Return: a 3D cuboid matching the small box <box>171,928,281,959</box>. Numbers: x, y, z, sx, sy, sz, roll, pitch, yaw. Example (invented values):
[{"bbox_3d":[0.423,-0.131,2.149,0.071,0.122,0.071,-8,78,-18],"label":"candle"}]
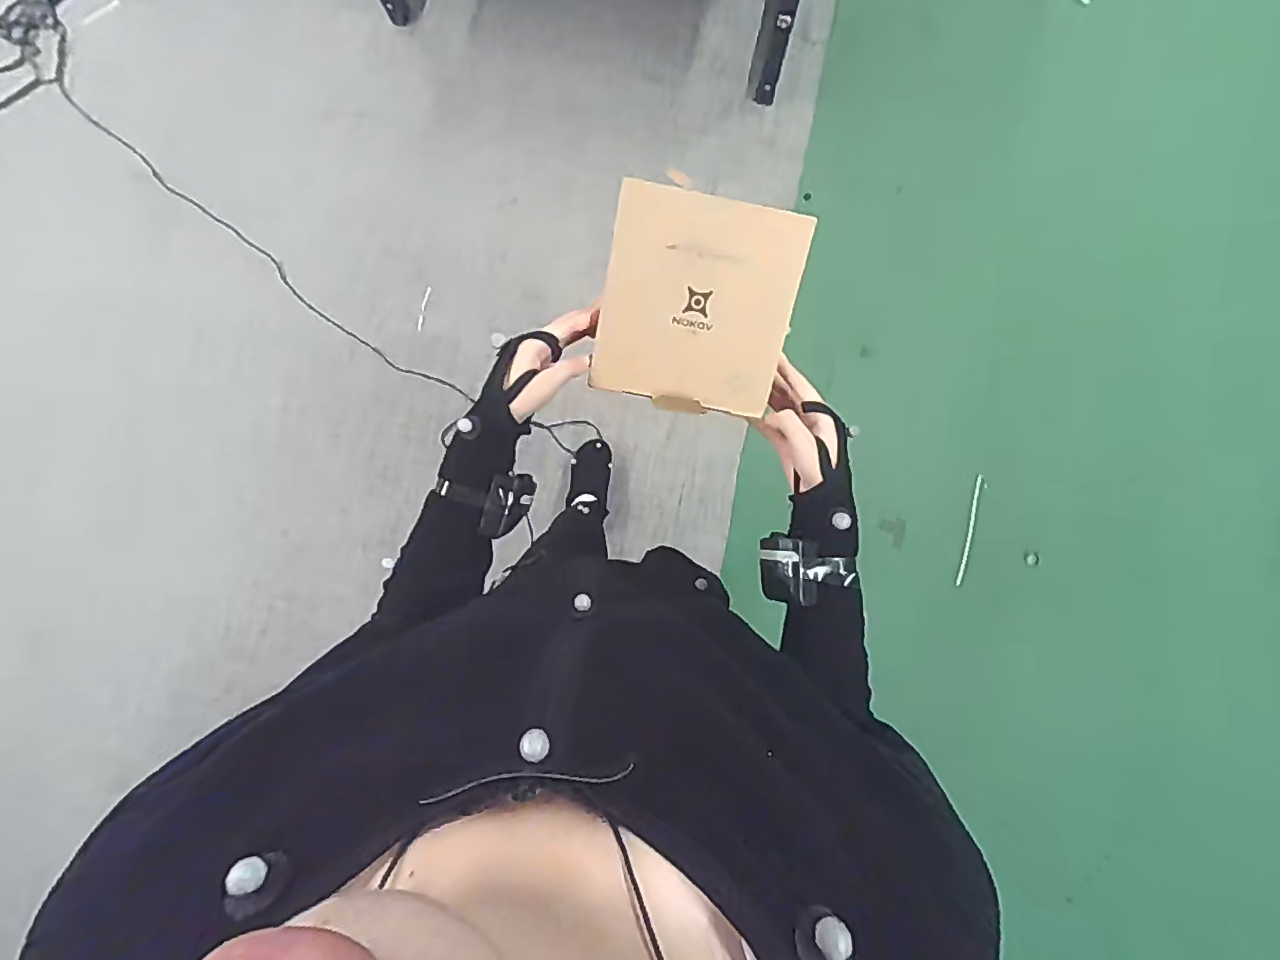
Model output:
[{"bbox_3d":[-0.794,0.967,0.982,0.168,0.176,0.179,7,83,2],"label":"small box"}]
